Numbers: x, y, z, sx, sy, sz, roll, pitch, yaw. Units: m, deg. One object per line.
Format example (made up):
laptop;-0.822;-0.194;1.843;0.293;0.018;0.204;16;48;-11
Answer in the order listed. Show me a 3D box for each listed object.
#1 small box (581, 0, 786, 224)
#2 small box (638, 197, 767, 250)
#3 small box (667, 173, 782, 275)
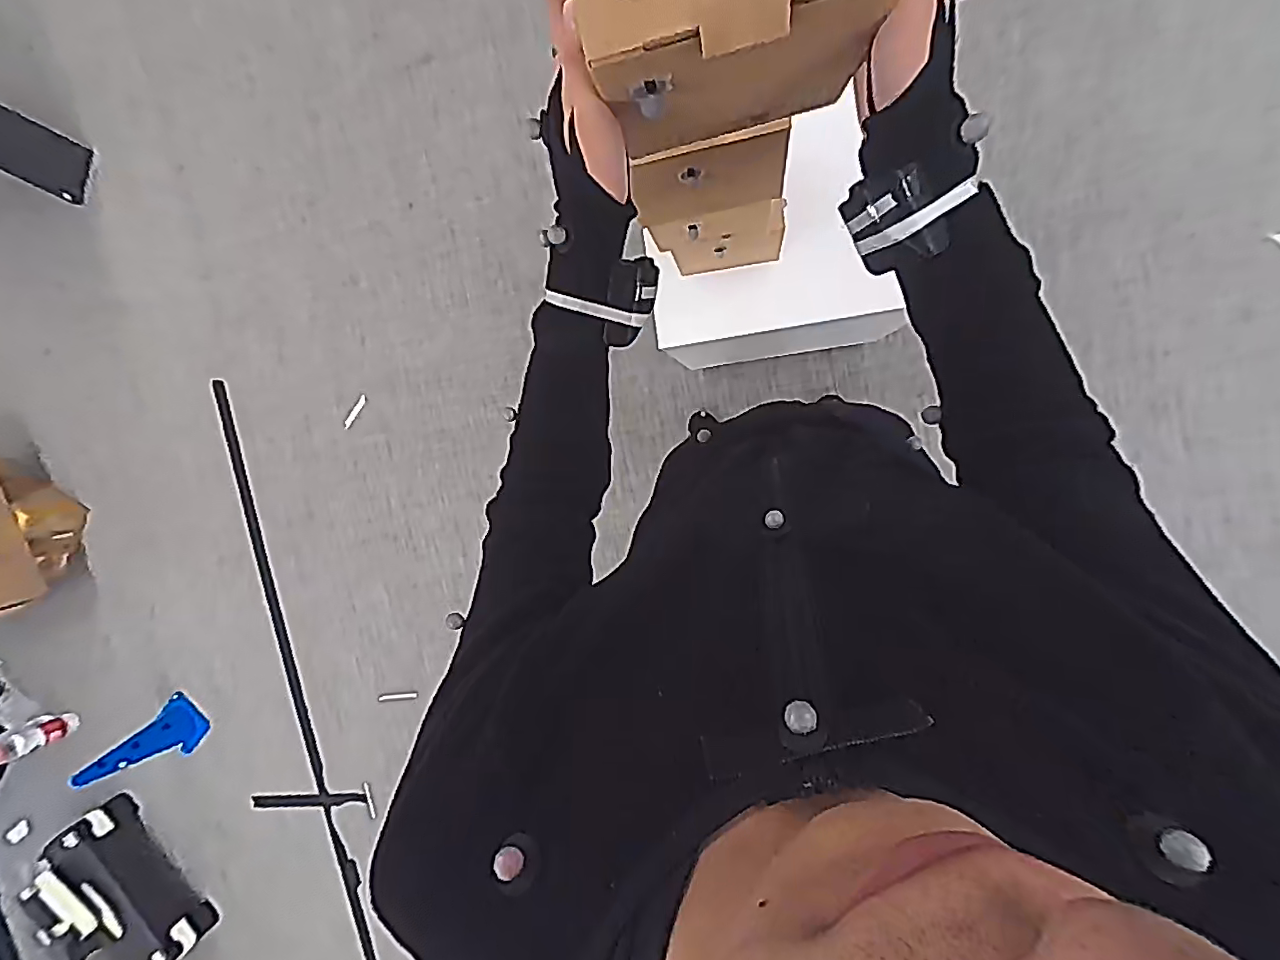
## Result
small box;0.054;-0.394;0.574;0.179;0.176;0.168;-7;96;12
small box;0.085;-0.427;0.733;0.168;0.176;0.179;-4;96;12
small box;0.133;-0.449;0.888;0.179;0.176;0.168;-6;96;11
